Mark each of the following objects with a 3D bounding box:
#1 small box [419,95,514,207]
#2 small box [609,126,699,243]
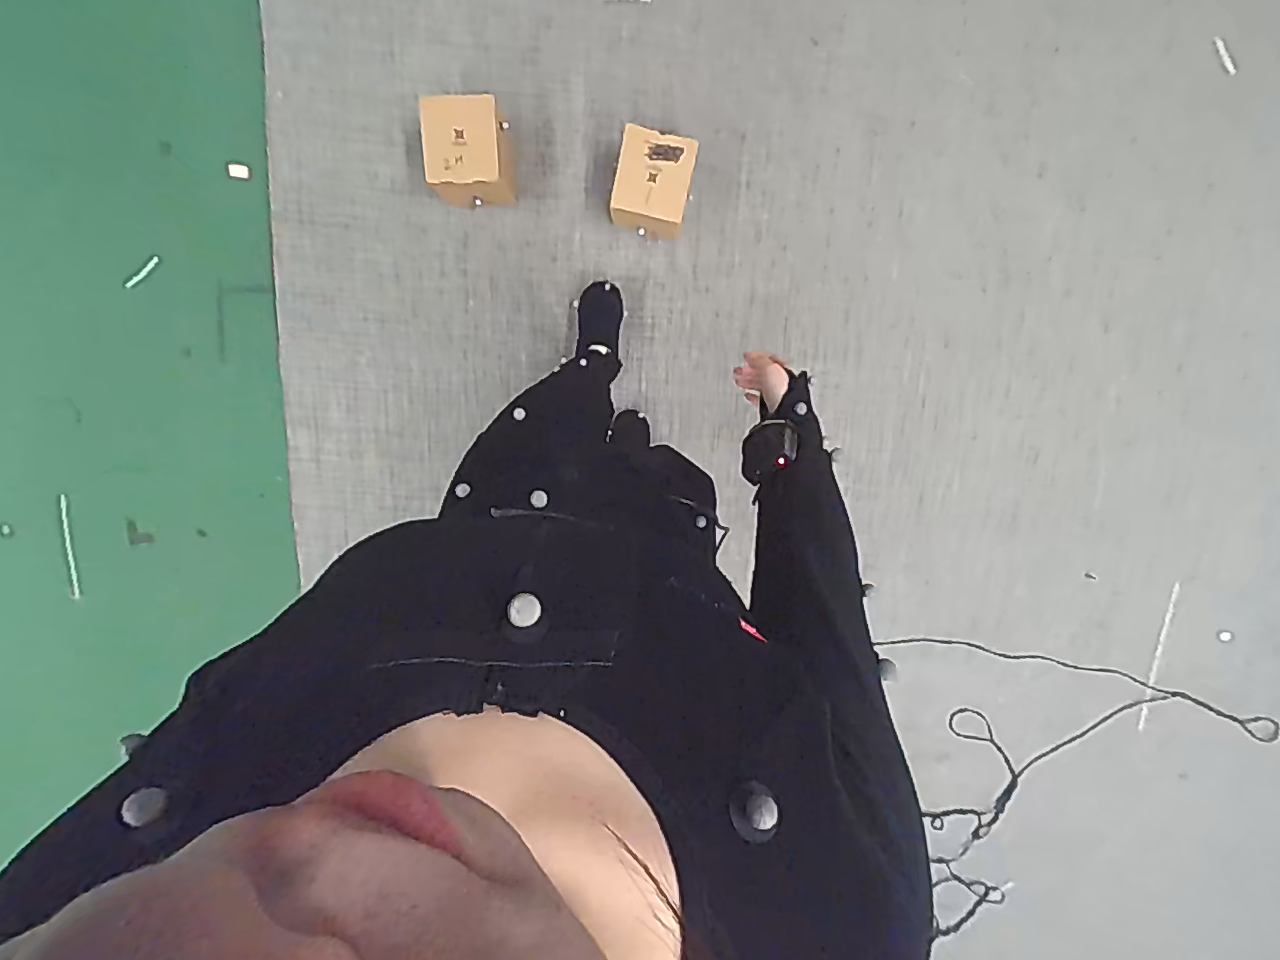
[{"bbox_3d":[-0.393,-0.752,1.249,0.168,0.176,0.179,0,101,0],"label":"small box"},{"bbox_3d":[0.029,-0.680,1.263,0.168,0.176,0.179,13,101,-2],"label":"small box"}]
